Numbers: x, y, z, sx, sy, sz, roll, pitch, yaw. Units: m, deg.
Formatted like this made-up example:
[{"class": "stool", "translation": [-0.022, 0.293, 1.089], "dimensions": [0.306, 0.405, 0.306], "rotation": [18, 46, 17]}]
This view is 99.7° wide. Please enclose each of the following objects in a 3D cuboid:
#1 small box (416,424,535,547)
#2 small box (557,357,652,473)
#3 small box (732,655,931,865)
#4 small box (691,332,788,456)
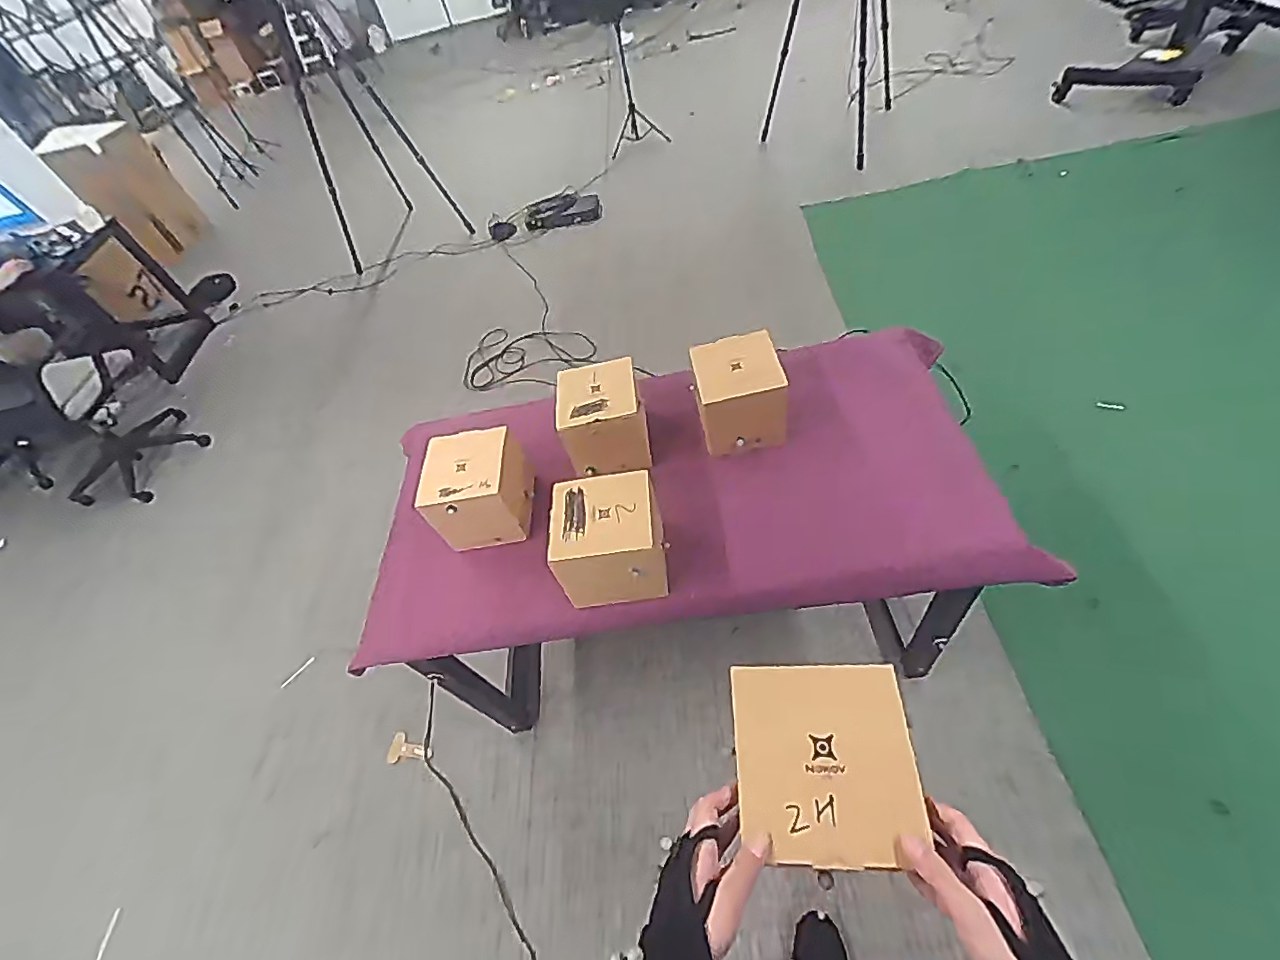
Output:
[{"class": "small box", "translation": [-0.324, 0.014, 1.108], "dimensions": [0.168, 0.176, 0.179], "rotation": [-10, 51, 8]}, {"class": "small box", "translation": [-0.073, -0.132, 1.164], "dimensions": [0.168, 0.176, 0.179], "rotation": [-10, 50, 6]}, {"class": "small box", "translation": [0.185, 0.302, 0.583], "dimensions": [0.168, 0.176, 0.179], "rotation": [-3, 55, 10]}, {"class": "small box", "translation": [0.206, -0.177, 1.132], "dimensions": [0.168, 0.176, 0.179], "rotation": [-11, 52, 6]}]
